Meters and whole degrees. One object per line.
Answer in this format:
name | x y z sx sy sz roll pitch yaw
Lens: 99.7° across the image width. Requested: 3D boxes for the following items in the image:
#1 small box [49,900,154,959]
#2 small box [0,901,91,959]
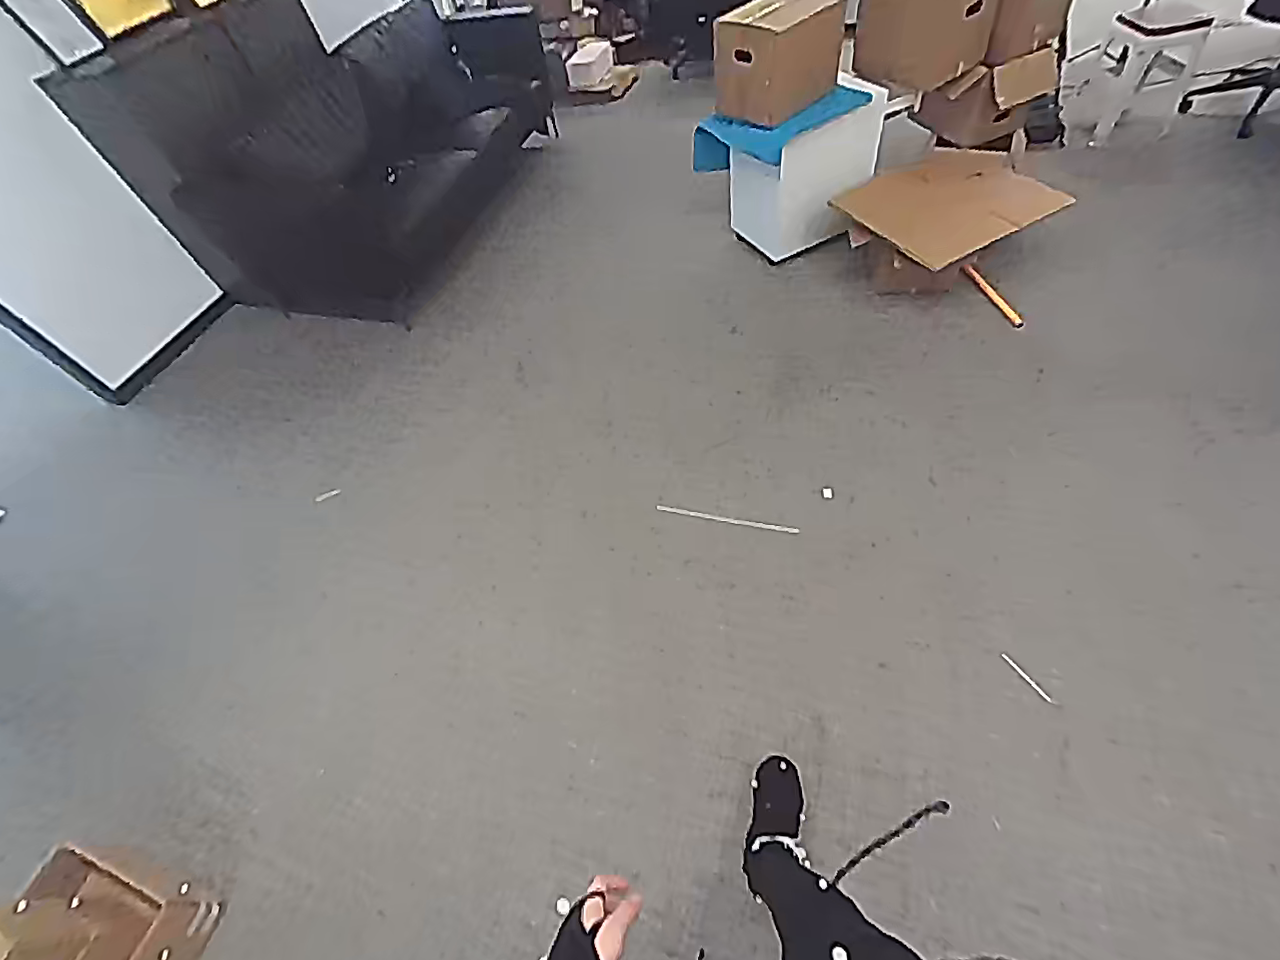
small box | -1.293 1.092 1.242 0.179 0.176 0.168 10 57 17
small box | -1.319 0.997 1.110 0.179 0.176 0.168 13 59 17
